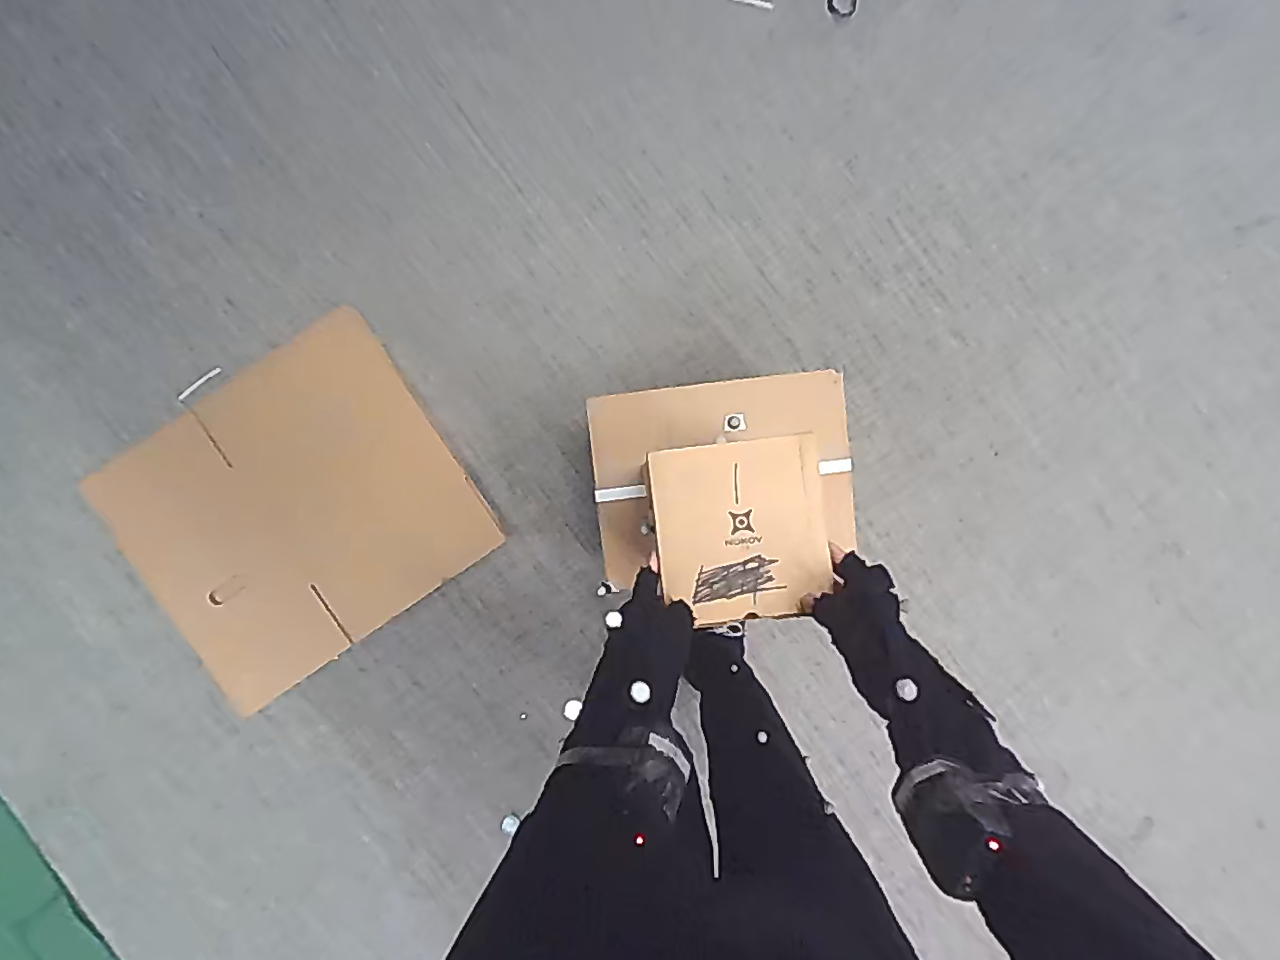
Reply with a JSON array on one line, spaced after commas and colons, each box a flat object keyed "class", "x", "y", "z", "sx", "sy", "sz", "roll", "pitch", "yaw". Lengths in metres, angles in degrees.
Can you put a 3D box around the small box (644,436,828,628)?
[{"class": "small box", "x": 0.096, "y": 0.052, "z": 0.606, "sx": 0.168, "sy": 0.176, "sz": 0.179, "roll": -7, "pitch": 88, "yaw": 1}]
